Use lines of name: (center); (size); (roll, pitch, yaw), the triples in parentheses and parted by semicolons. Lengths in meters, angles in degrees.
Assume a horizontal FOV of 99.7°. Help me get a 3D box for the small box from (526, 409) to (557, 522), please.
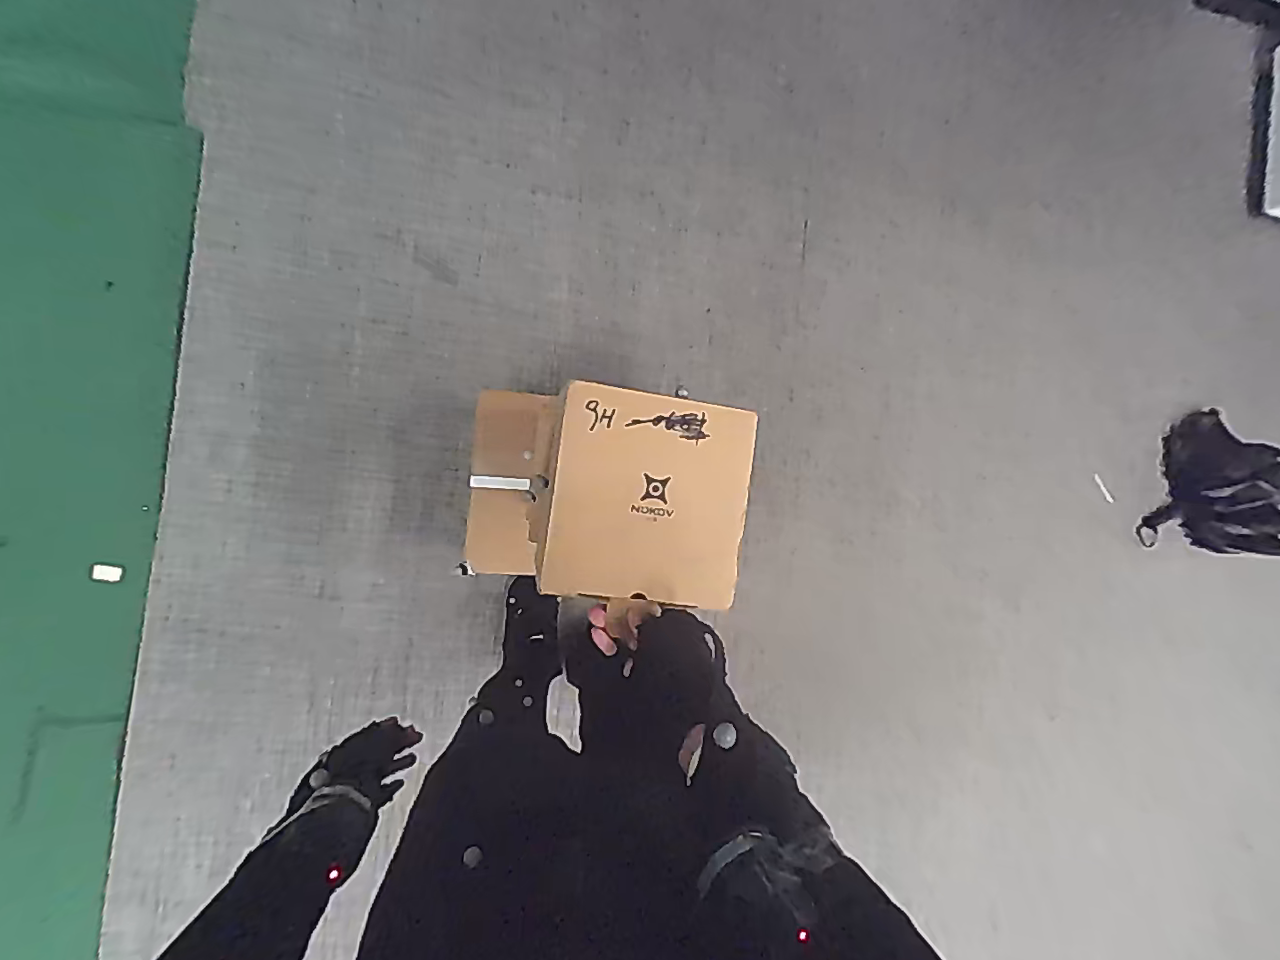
small box: (-0.077, -0.008, 0.851); (0.179, 0.176, 0.168); (11, 89, -11)

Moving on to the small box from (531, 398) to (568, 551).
small box: (-0.042, 0.005, 0.696); (0.168, 0.176, 0.179); (11, 89, -12)

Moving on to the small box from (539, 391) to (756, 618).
small box: (-0.005, 0.022, 0.534); (0.168, 0.176, 0.179); (8, 89, -11)
